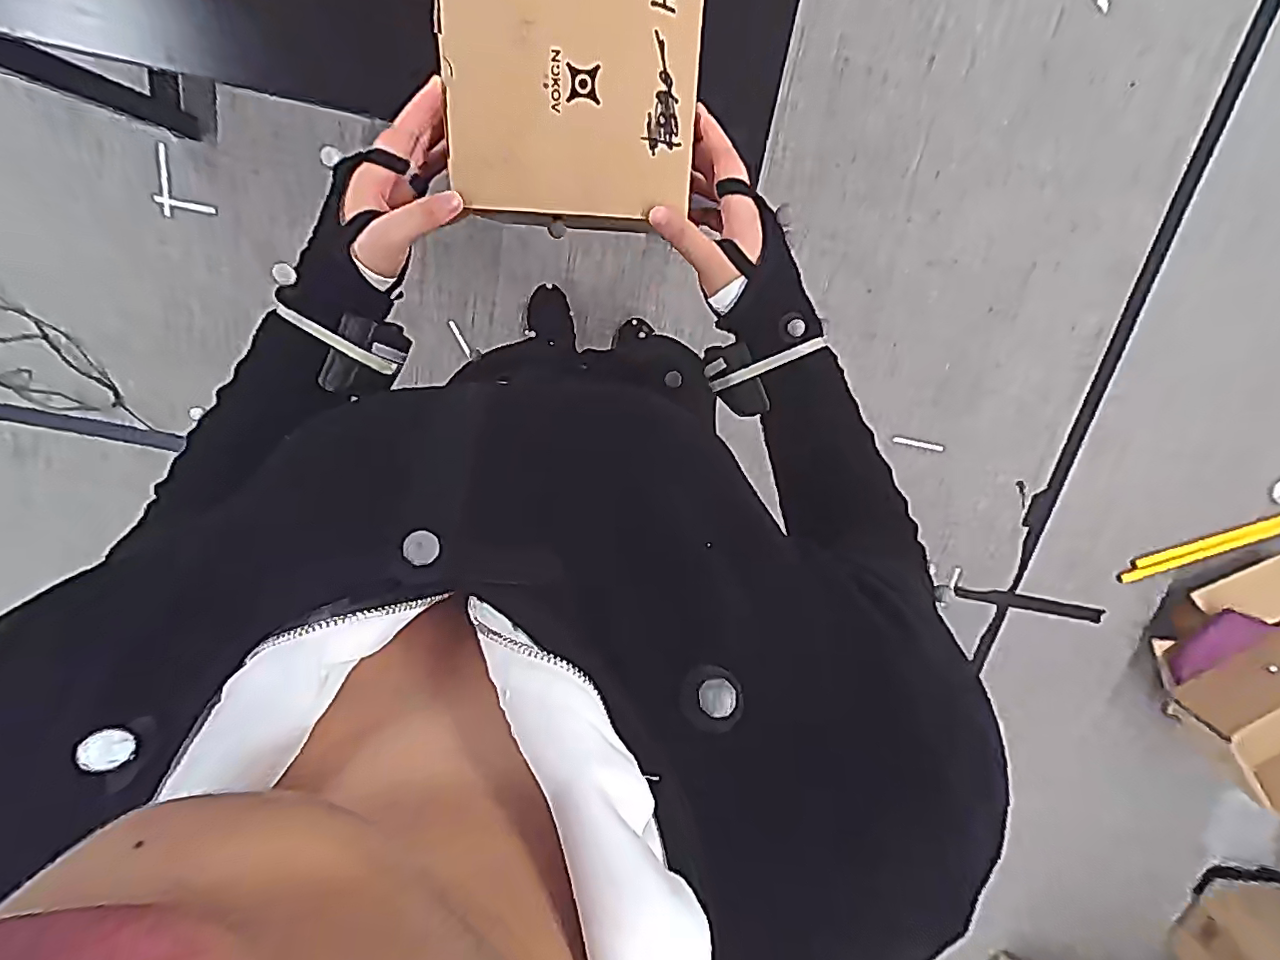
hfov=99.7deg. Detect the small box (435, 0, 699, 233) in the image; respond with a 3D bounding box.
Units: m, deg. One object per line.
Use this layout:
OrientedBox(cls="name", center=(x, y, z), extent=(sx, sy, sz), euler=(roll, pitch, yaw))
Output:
OrientedBox(cls="small box", center=(-0.052, -0.303, 0.446), extent=(0.179, 0.176, 0.168), euler=(3, 111, -3))
